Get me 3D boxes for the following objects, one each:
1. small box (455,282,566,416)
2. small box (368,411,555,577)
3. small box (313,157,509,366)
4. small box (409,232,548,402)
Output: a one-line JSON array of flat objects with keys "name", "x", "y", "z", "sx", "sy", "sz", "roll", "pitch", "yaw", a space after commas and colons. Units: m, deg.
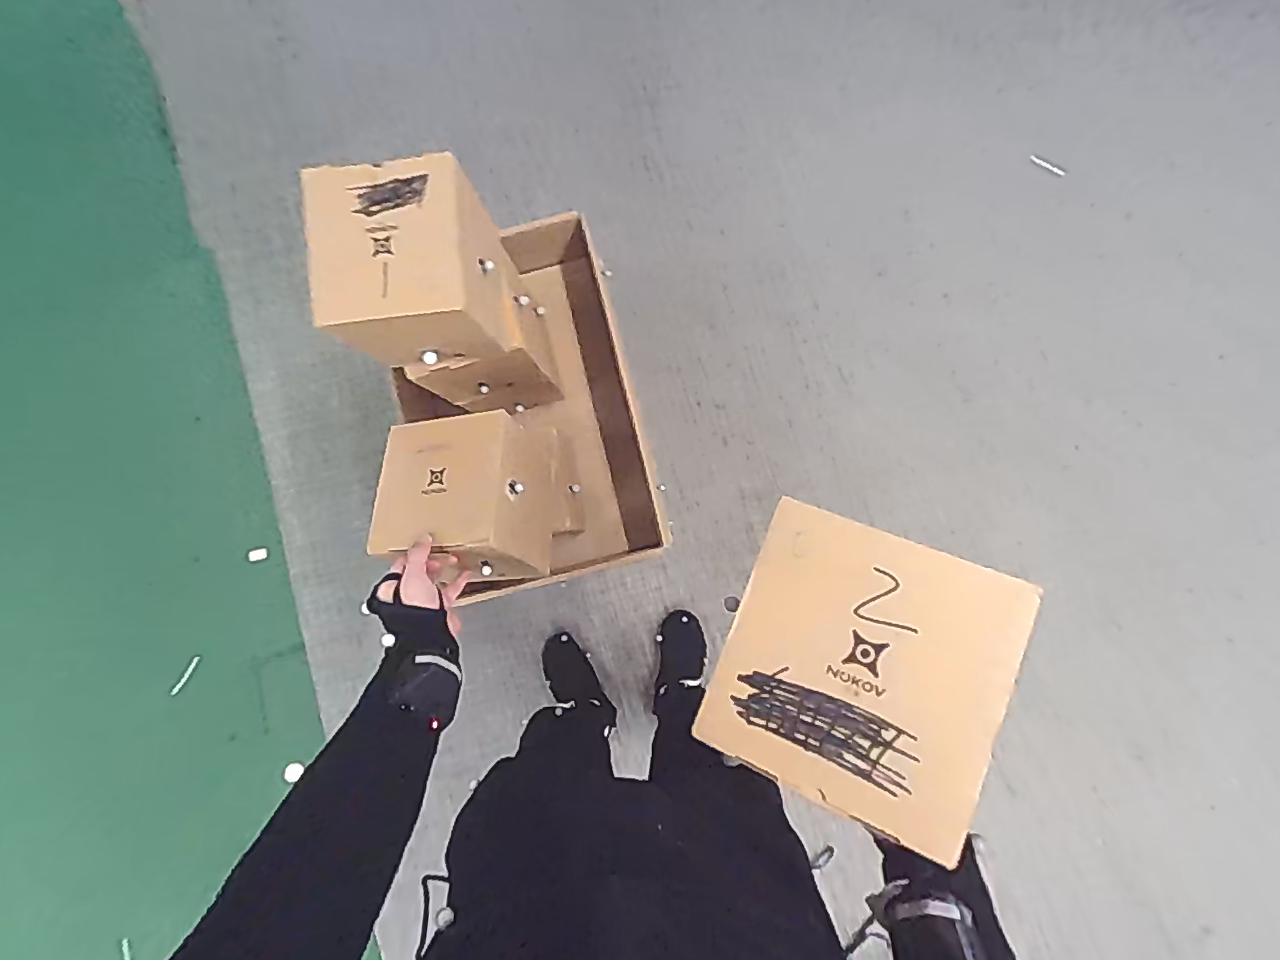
[{"name": "small box", "x": -0.244, "y": -0.226, "z": 0.986, "sx": 0.168, "sy": 0.176, "sz": 0.179, "roll": -15, "pitch": 85, "yaw": 2}, {"name": "small box", "x": -0.224, "y": 0.030, "z": 0.727, "sx": 0.168, "sy": 0.176, "sz": 0.179, "roll": -5, "pitch": 66, "yaw": 14}, {"name": "small box", "x": -0.267, "y": -0.253, "z": 0.662, "sx": 0.168, "sy": 0.176, "sz": 0.179, "roll": -6, "pitch": 86, "yaw": 2}, {"name": "small box", "x": -0.252, "y": -0.237, "z": 0.824, "sx": 0.168, "sy": 0.176, "sz": 0.179, "roll": -15, "pitch": 85, "yaw": 1}]
